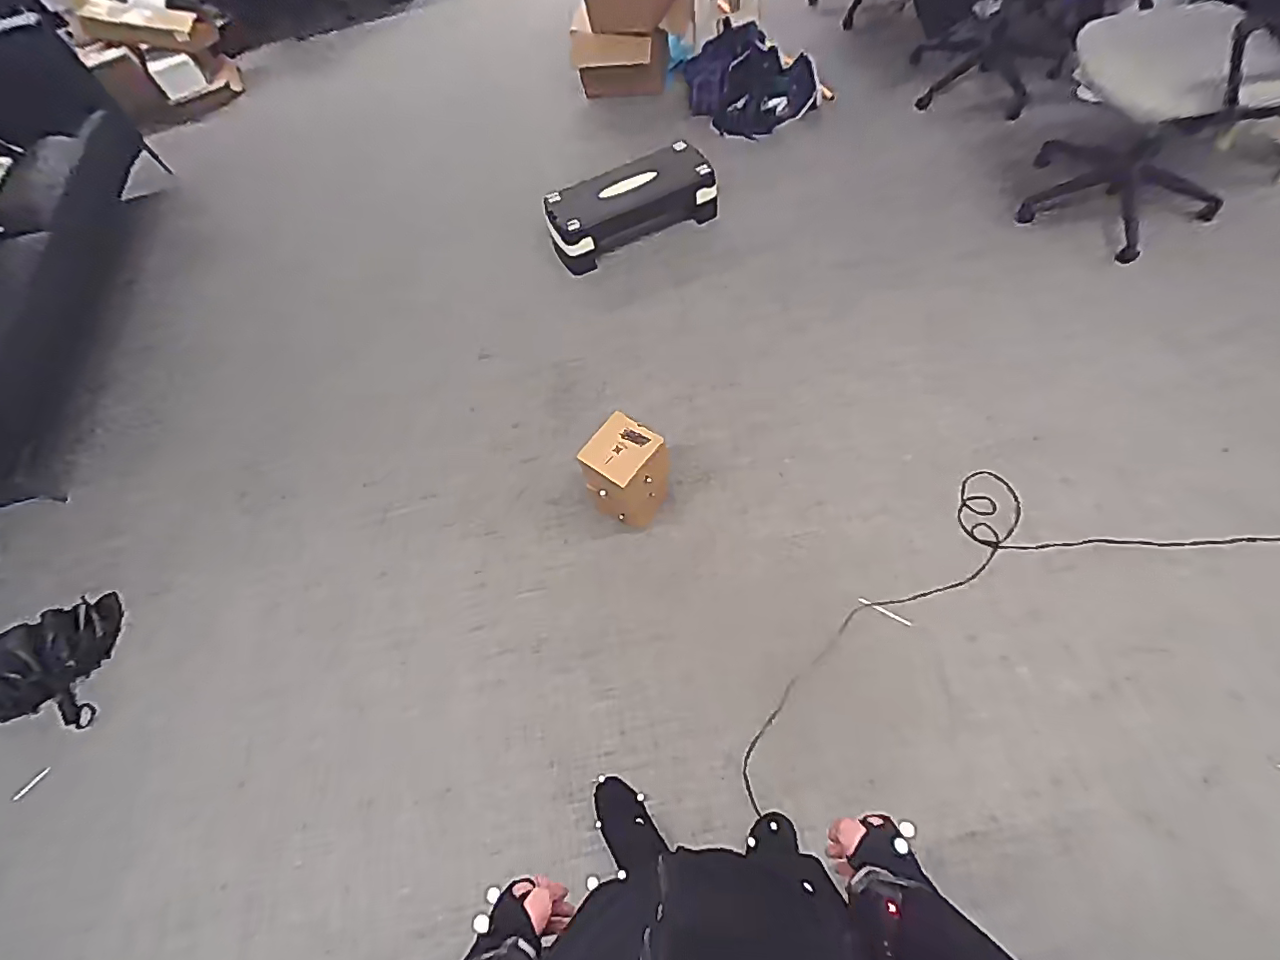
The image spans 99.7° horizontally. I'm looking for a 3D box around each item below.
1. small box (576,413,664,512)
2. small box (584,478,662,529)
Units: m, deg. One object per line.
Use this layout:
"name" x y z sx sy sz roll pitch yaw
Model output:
"small box" -0.048 -0.044 1.478 0.168 0.176 0.179 33 72 22
"small box" -0.043 0.023 1.629 0.168 0.176 0.179 25 67 19
